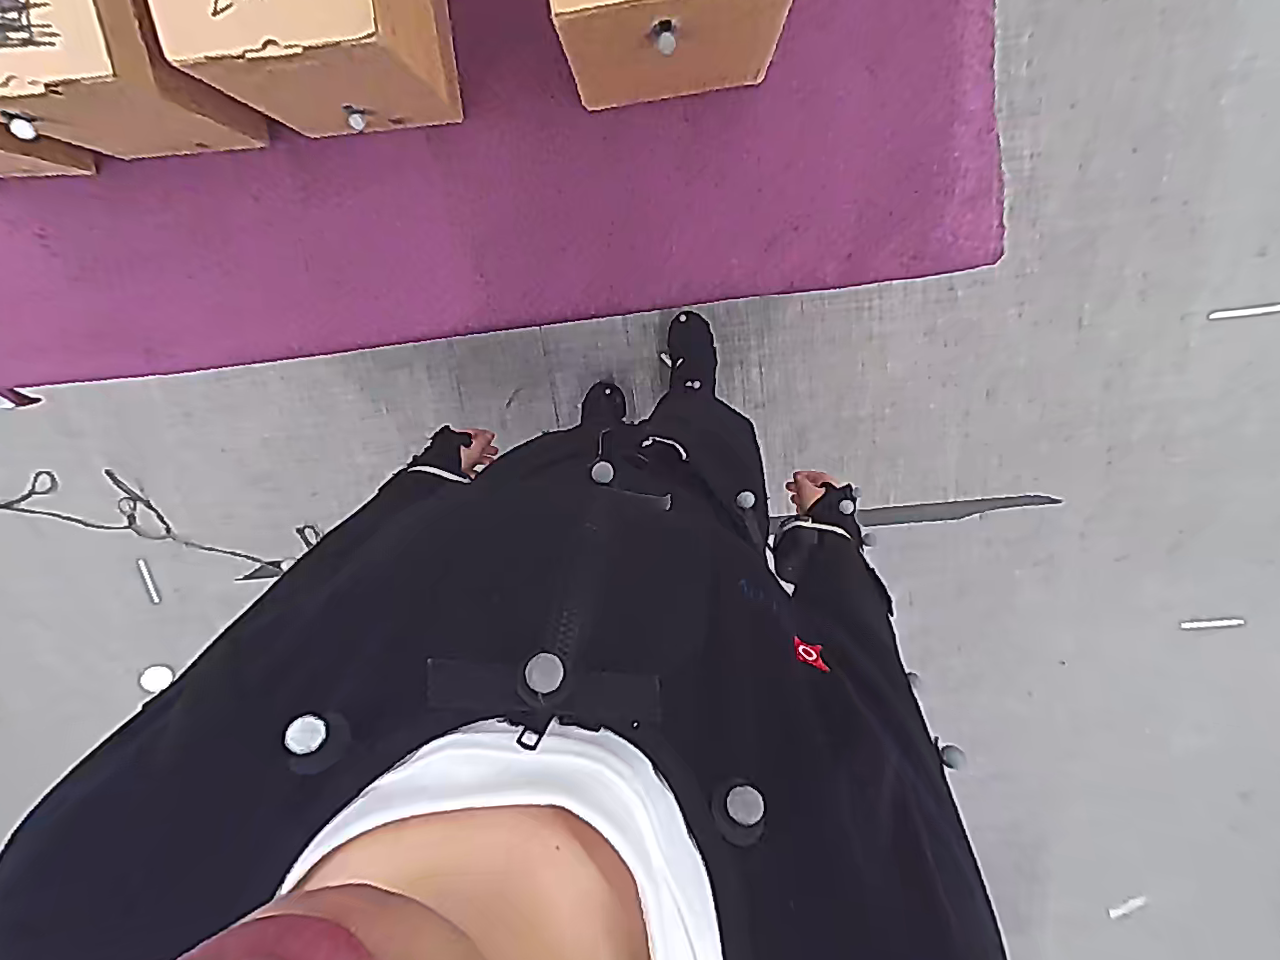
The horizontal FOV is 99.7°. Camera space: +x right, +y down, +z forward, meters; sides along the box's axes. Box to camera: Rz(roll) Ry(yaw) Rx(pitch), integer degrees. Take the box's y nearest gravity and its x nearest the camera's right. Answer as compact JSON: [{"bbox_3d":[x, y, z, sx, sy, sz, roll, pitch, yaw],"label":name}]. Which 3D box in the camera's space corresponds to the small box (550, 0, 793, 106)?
[{"bbox_3d":[0.020,-0.430,0.428,0.179,0.176,0.168,-5,105,6],"label":"small box"}]
